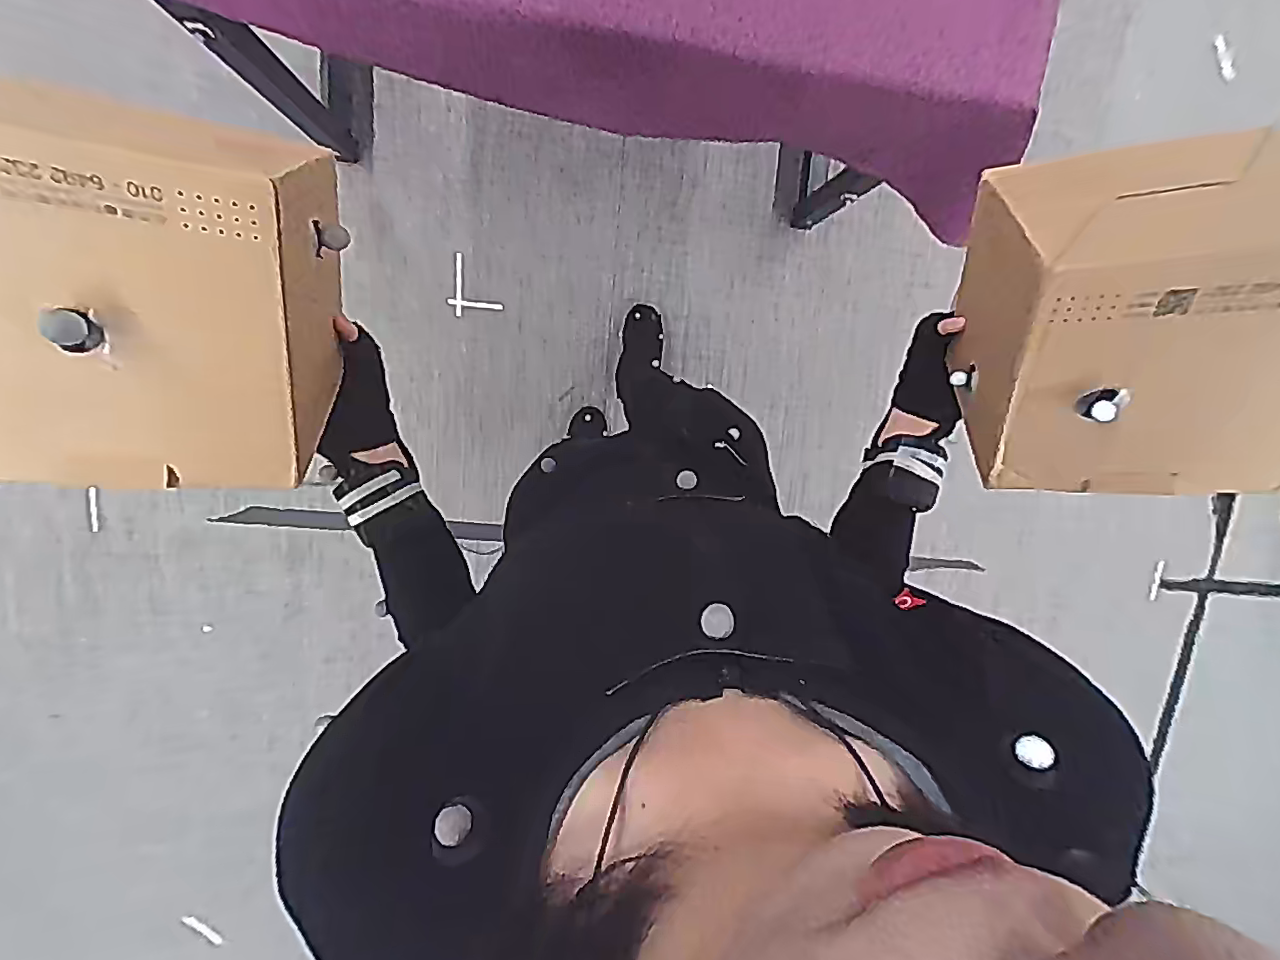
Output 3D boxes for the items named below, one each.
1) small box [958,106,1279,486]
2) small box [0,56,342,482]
[{"bbox_3d":[0.327,-0.115,0.352,0.168,0.179,0.176,2,135,18],"label":"small box"},{"bbox_3d":[-0.272,-0.117,0.298,0.168,0.179,0.176,3,122,-21],"label":"small box"}]
